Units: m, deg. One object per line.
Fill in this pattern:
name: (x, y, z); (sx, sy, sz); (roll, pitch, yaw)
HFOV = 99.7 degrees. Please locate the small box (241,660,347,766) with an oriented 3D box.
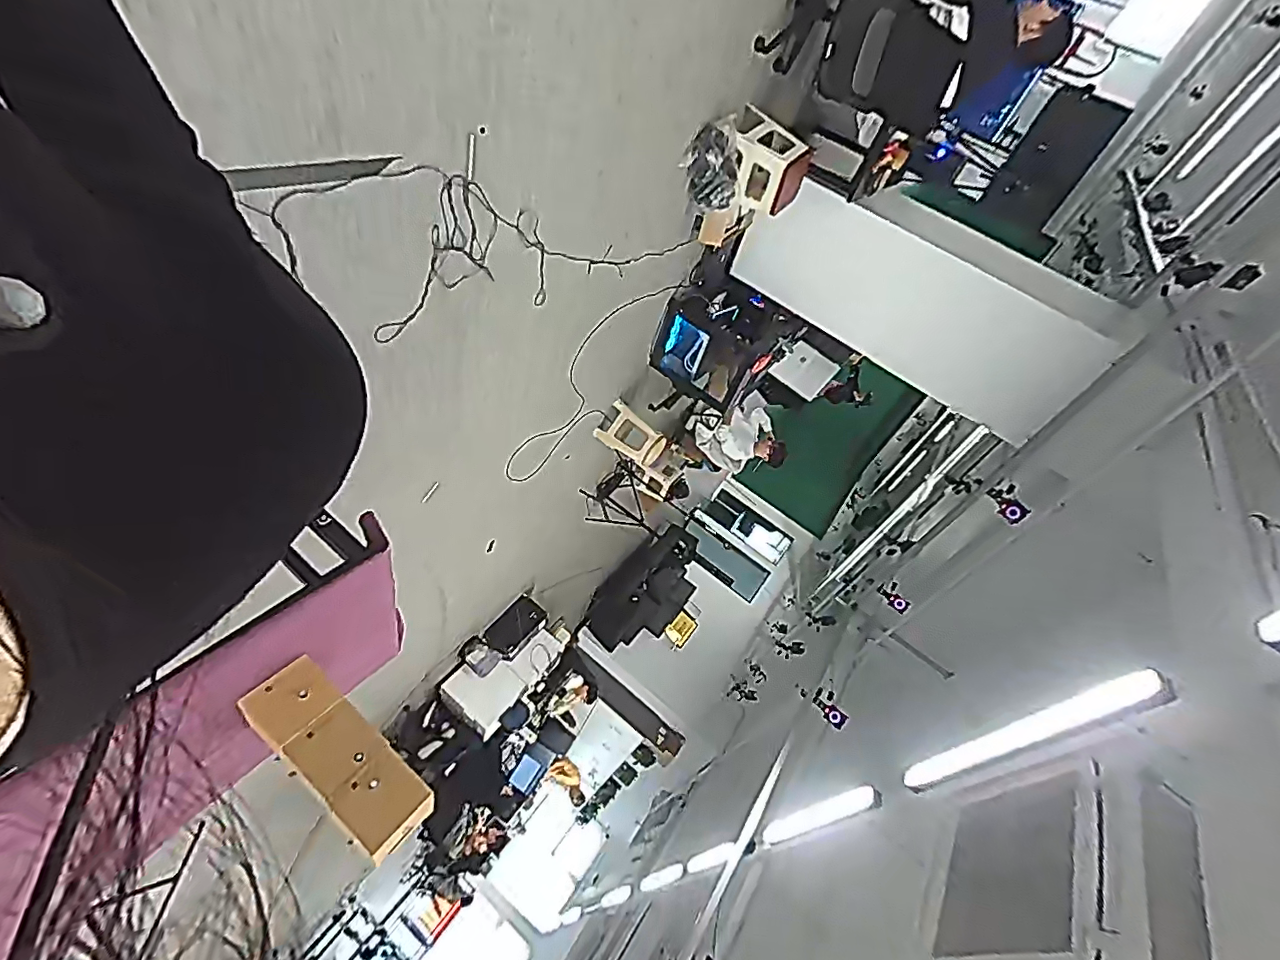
small box: (-0.872, 0.590, 1.376); (0.168, 0.176, 0.179); (-41, 162, -43)

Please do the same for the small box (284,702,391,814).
small box: (-0.745, 0.689, 1.343); (0.168, 0.176, 0.179); (-41, 163, -43)

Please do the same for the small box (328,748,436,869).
small box: (-0.617, 0.785, 1.300); (0.168, 0.176, 0.179); (-41, 161, -43)
